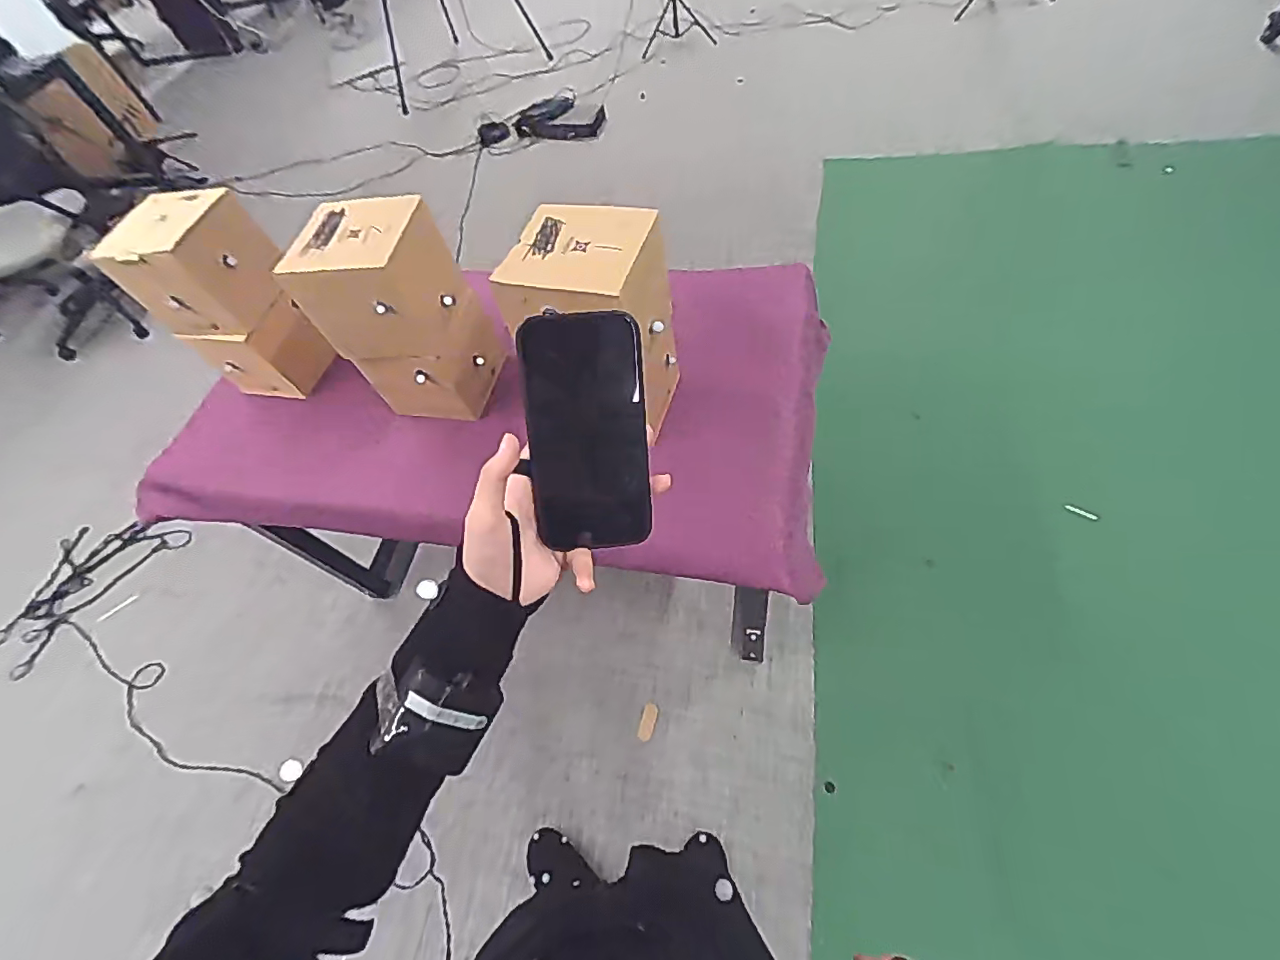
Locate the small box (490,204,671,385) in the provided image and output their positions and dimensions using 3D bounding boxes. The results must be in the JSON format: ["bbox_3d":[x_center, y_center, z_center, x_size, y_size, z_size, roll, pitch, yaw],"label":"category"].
[{"bbox_3d":[-0.069,-0.251,0.743,0.179,0.176,0.168,11,61,17],"label":"small box"}]

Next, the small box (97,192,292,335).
[{"bbox_3d":[-0.768,-0.374,0.957,0.168,0.176,0.179,2,59,12],"label":"small box"}]

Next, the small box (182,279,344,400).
[{"bbox_3d":[-0.743,-0.280,1.090,0.168,0.176,0.179,6,60,15],"label":"small box"}]

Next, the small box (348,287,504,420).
[{"bbox_3d":[-0.372,-0.225,0.980,0.179,0.176,0.168,6,59,15],"label":"small box"}]

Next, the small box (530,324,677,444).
[{"bbox_3d":[-0.047,-0.178,0.889,0.179,0.176,0.168,11,61,18],"label":"small box"}]
